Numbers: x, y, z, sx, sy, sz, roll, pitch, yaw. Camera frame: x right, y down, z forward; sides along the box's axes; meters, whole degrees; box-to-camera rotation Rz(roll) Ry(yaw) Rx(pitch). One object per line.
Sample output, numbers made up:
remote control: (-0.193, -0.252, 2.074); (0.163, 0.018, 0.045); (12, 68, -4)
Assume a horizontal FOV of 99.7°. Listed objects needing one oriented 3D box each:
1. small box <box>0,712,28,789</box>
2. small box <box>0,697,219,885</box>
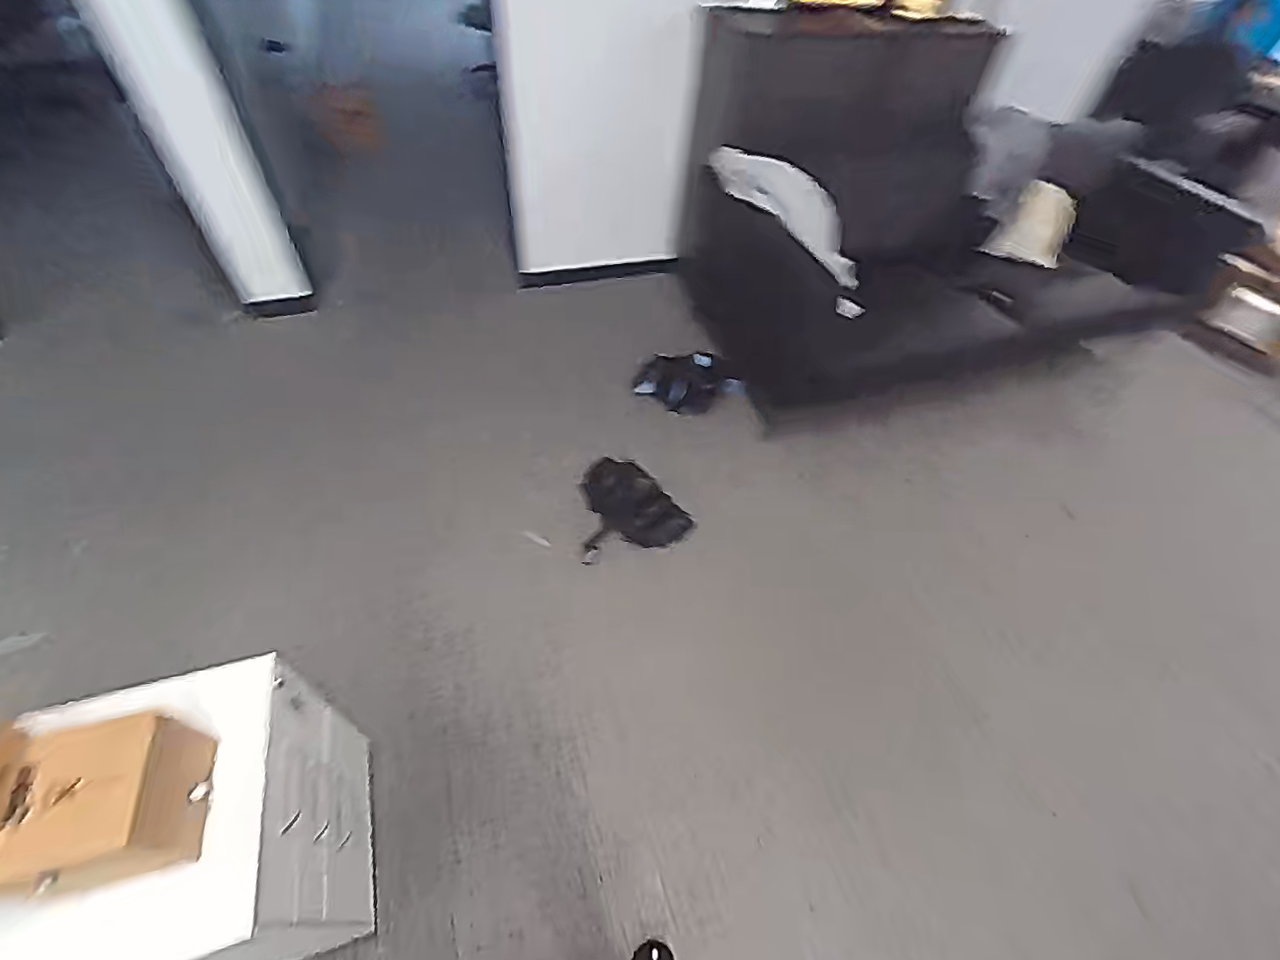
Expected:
small box: (-0.827, 0.330, 0.563); (0.179, 0.176, 0.168); (-10, 52, -13)
small box: (-0.712, 0.414, 0.717); (0.179, 0.176, 0.168); (-9, 53, -14)
